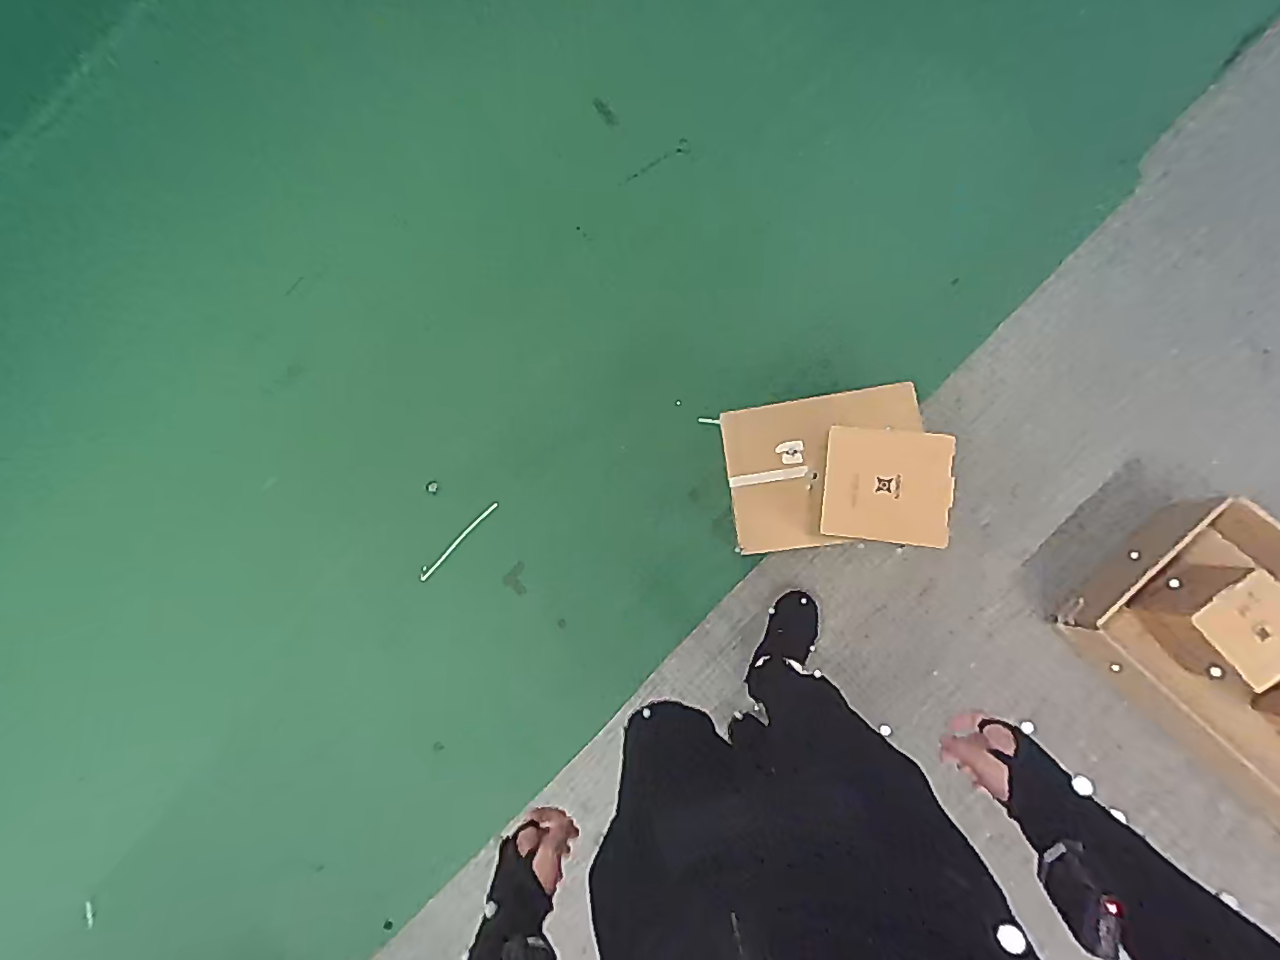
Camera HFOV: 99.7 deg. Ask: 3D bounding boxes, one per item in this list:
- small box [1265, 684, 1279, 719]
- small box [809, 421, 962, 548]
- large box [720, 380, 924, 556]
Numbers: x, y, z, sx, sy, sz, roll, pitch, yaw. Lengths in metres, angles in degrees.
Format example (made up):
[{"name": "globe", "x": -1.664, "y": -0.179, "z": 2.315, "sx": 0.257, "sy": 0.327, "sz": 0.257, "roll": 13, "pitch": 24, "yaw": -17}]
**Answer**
[{"name": "small box", "x": 1.388, "y": 0.452, "z": 1.021, "sx": 0.179, "sy": 0.176, "sz": 0.168, "roll": 40, "pitch": 92, "yaw": 13}, {"name": "small box", "x": 0.371, "y": 0.011, "z": 0.845, "sx": 0.179, "sy": 0.176, "sz": 0.168, "roll": 6, "pitch": 86, "yaw": 12}, {"name": "large box", "x": 0.415, "y": -0.007, "z": 1.256, "sx": 0.408, "sy": 0.320, "sz": 0.320, "roll": -9, "pitch": 81, "yaw": 10}]
